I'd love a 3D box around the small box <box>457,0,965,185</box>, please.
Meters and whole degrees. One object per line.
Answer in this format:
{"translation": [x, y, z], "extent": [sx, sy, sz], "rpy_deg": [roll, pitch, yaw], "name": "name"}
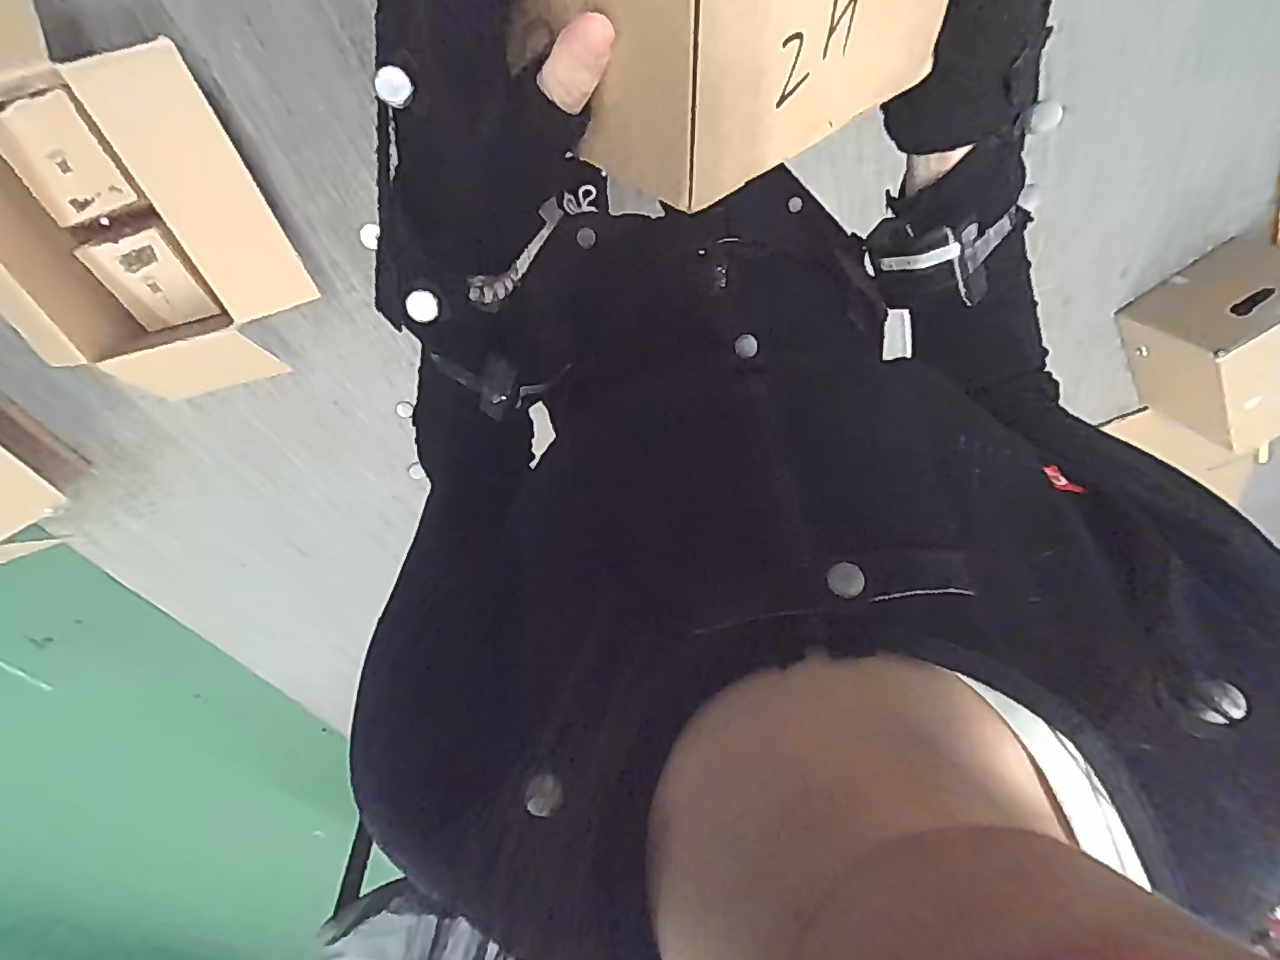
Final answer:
{"translation": [0.025, -0.250, 0.196], "extent": [0.168, 0.176, 0.179], "rpy_deg": [-38, 152, -19], "name": "small box"}
